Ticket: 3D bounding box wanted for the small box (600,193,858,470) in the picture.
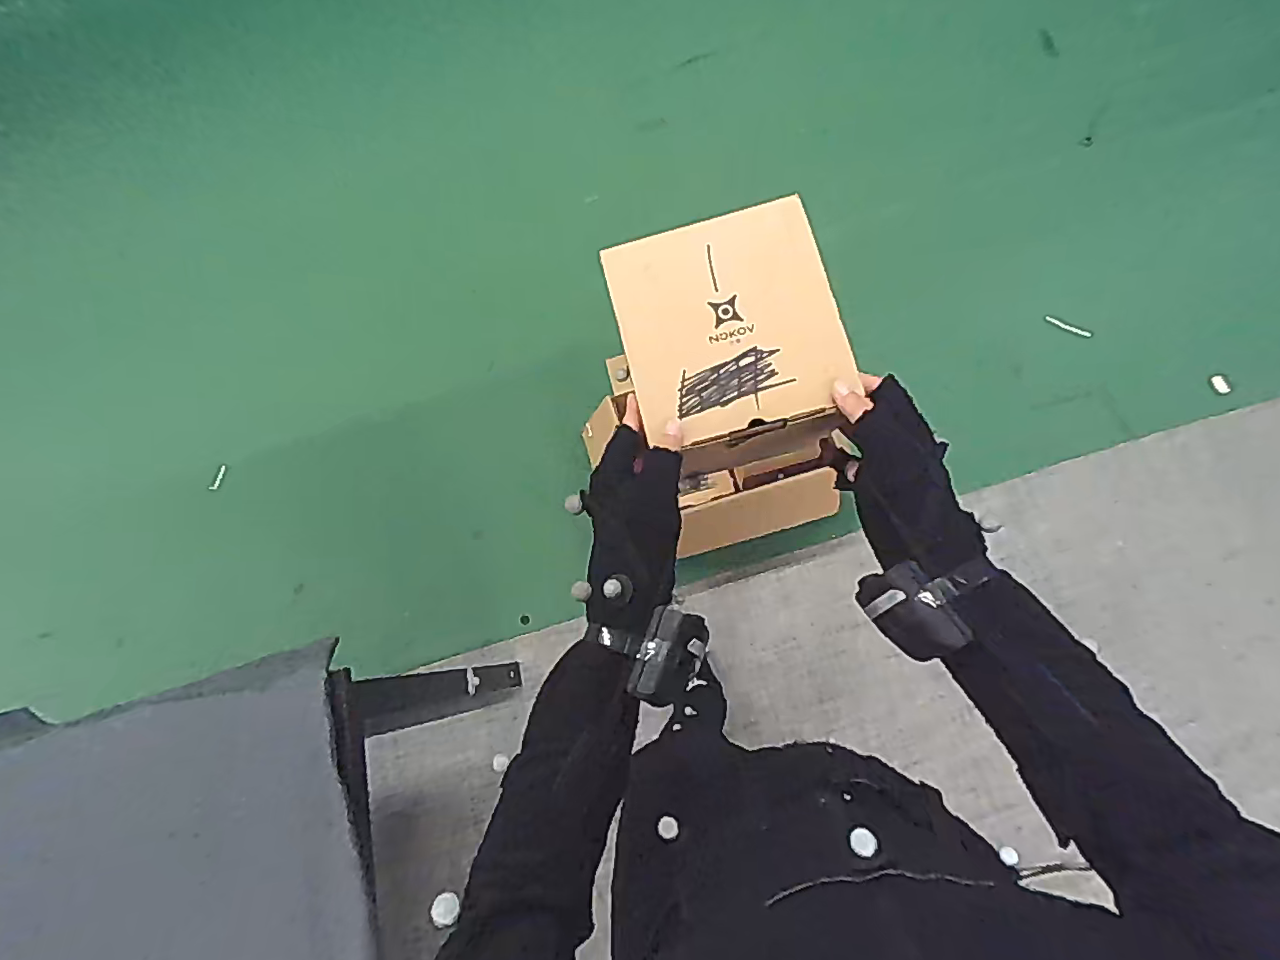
[{"bbox_3d":[0.073,-0.113,0.495,0.168,0.176,0.179,-15,81,3],"label":"small box"}]
